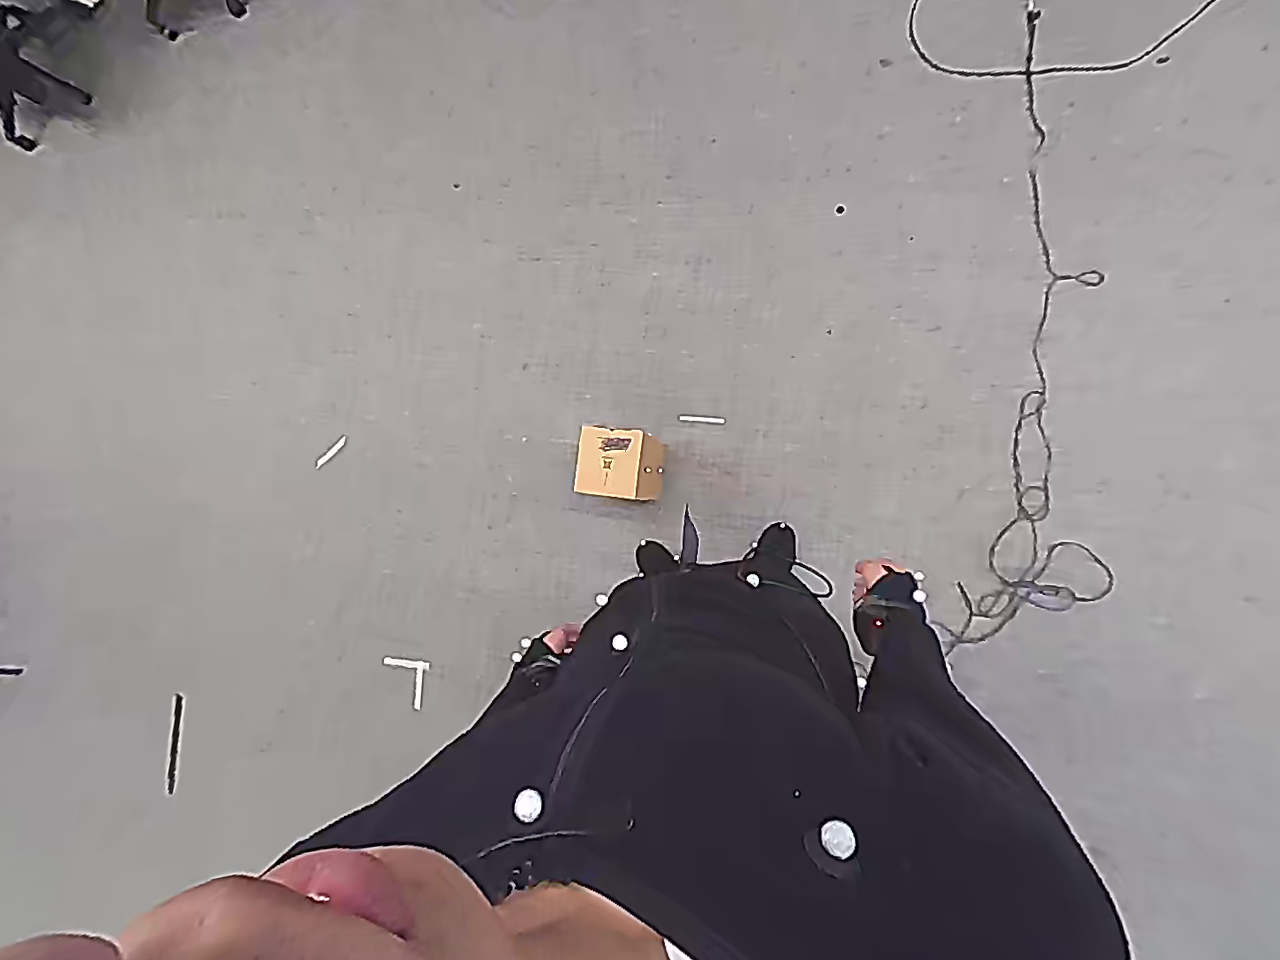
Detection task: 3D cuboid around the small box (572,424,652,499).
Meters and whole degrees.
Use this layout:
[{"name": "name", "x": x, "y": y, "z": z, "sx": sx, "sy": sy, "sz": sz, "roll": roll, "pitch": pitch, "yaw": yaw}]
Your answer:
[{"name": "small box", "x": -0.068, "y": -0.046, "z": 1.443, "sx": 0.168, "sy": 0.176, "sz": 0.179, "roll": 7, "pitch": 89, "yaw": 13}]
